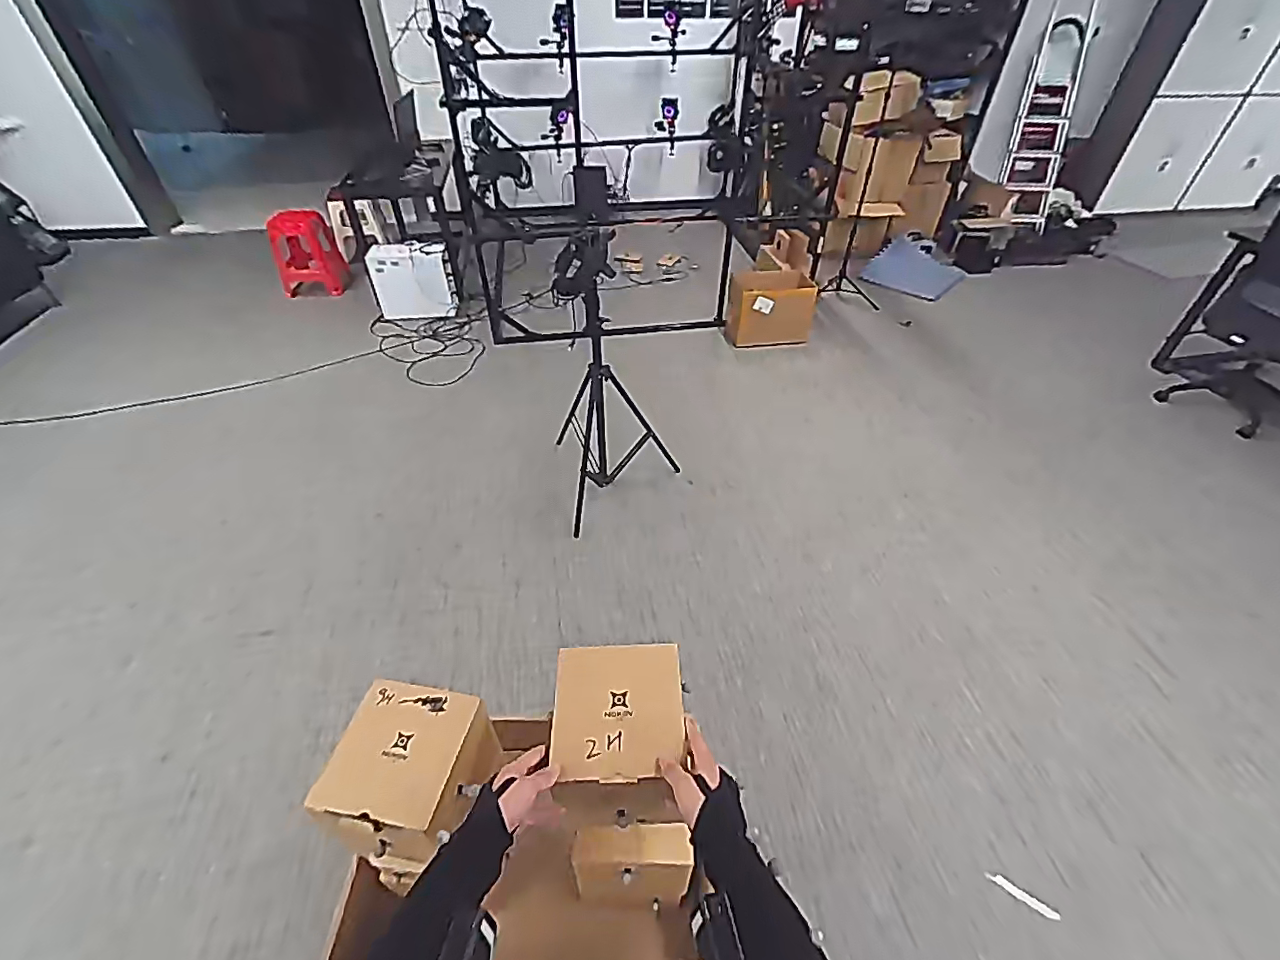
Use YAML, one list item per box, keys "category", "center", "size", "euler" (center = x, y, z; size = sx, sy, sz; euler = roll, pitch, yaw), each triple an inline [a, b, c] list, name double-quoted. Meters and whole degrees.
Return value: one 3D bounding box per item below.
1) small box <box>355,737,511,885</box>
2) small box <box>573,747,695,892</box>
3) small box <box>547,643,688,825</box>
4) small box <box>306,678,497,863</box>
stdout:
- category: "small box"
  center: [-0.322, 0.535, 0.888]
  size: [0.168, 0.176, 0.179]
  euler: [5, 41, 5]
- category: "small box"
  center: [-0.006, 0.548, 0.878]
  size: [0.179, 0.176, 0.168]
  euler: [1, 41, 2]
- category: "small box"
  center: [-0.024, 0.343, 0.735]
  size: [0.168, 0.176, 0.179]
  euler: [-2, 42, 1]
- category: "small box"
  center: [-0.320, 0.416, 0.773]
  size: [0.168, 0.176, 0.179]
  euler: [8, 43, 8]
